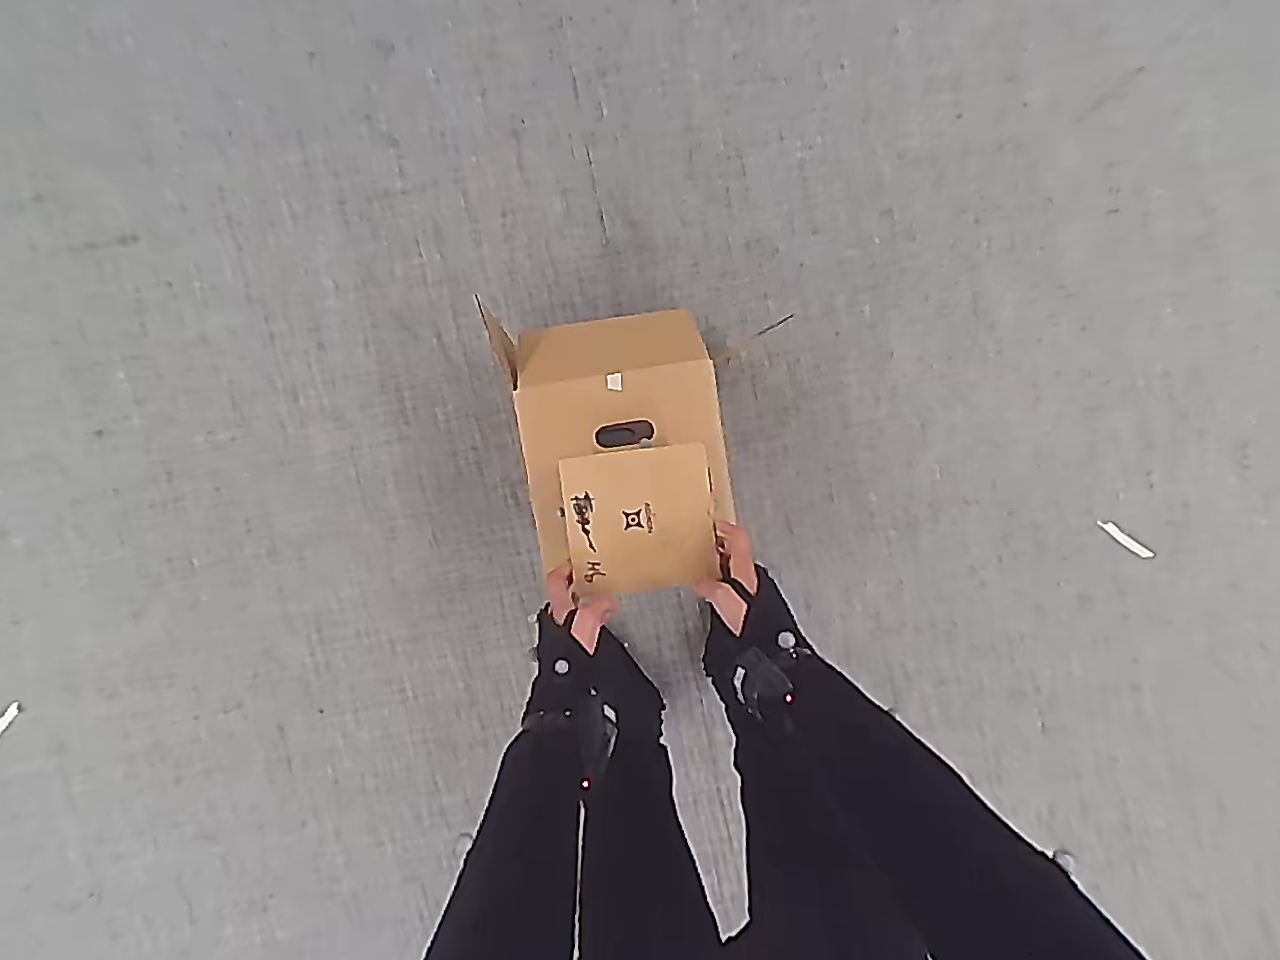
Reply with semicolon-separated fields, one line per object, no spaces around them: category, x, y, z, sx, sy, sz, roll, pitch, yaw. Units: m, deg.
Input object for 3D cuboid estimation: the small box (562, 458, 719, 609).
small box;-0.001;0.060;0.717;0.179;0.176;0.168;-6;92;0
